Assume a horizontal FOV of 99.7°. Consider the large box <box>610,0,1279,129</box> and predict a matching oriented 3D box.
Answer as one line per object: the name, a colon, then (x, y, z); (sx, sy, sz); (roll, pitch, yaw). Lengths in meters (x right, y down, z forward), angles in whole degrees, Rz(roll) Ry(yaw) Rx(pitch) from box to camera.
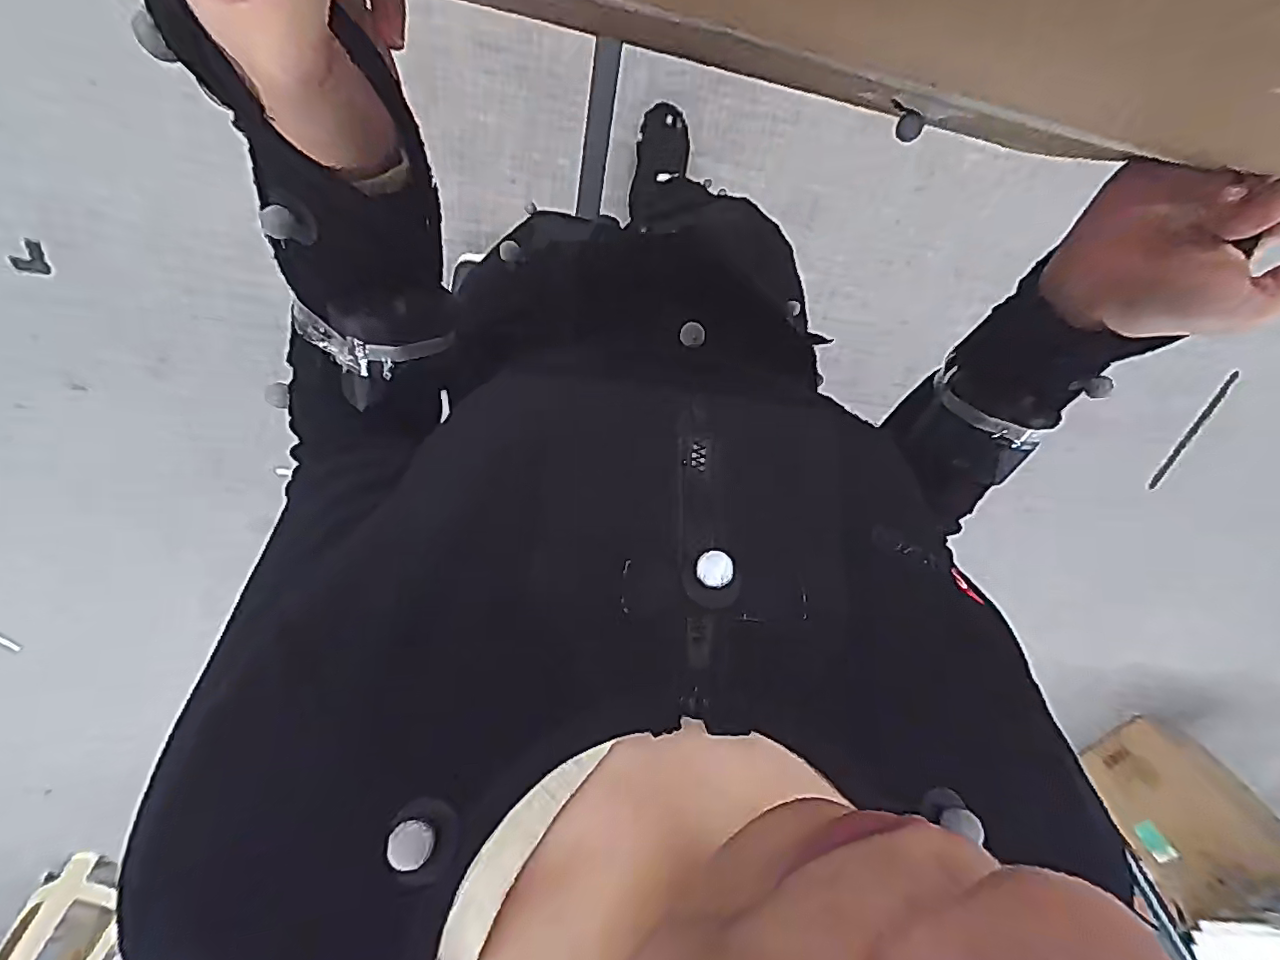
large box: (0.107, -0.305, 0.118); (0.408, 0.320, 0.320); (6, 124, -10)
